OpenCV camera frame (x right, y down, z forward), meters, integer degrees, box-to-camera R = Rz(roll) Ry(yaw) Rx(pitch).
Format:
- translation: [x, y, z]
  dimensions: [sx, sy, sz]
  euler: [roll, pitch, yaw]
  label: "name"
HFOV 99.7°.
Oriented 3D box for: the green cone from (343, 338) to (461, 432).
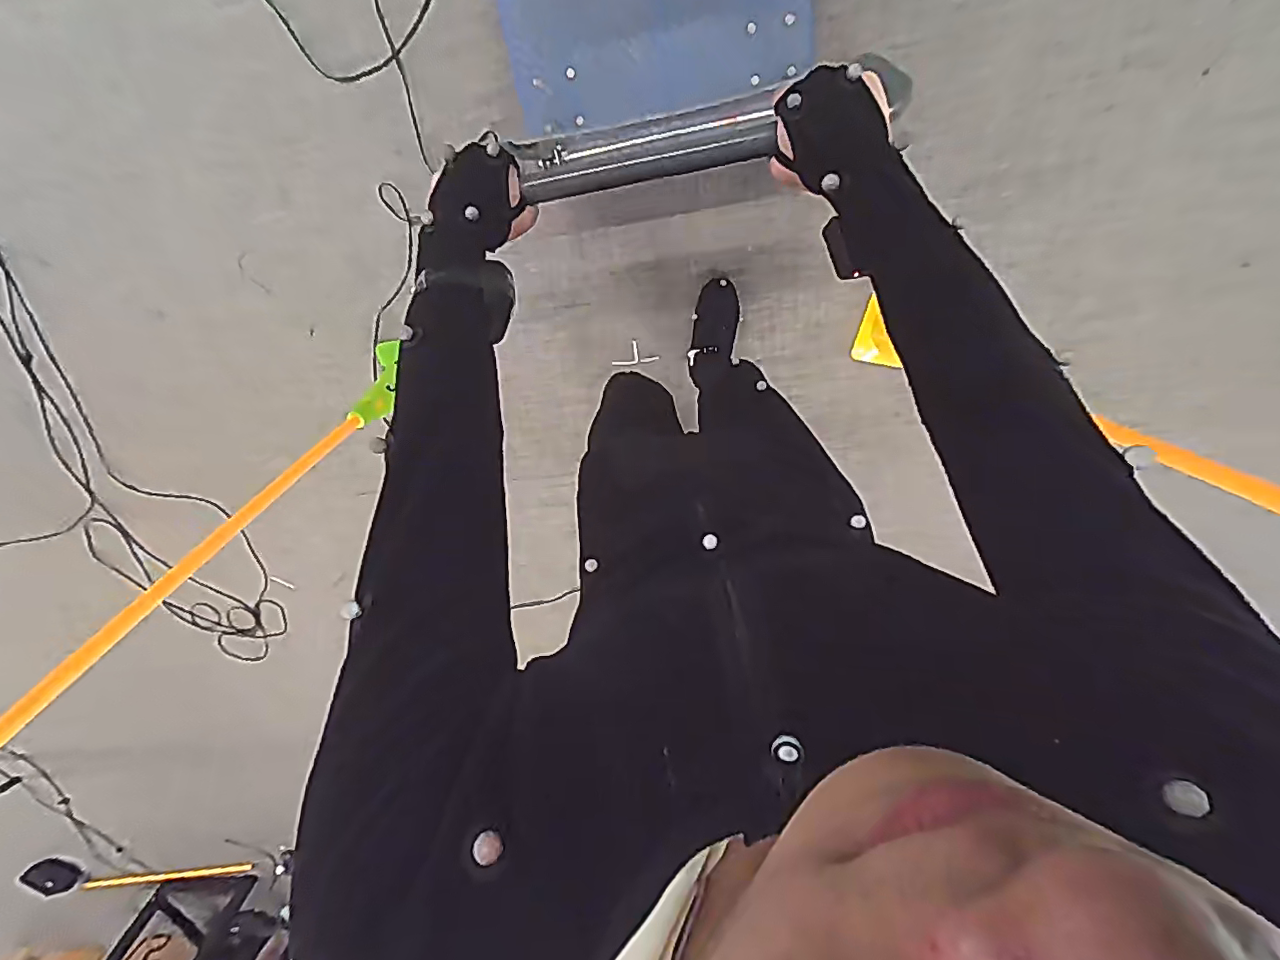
- translation: [-0.650, -0.220, 1.409]
  dimensions: [0.202, 0.368, 0.200]
  euler: [-8, 117, 11]
  label: "green cone"
